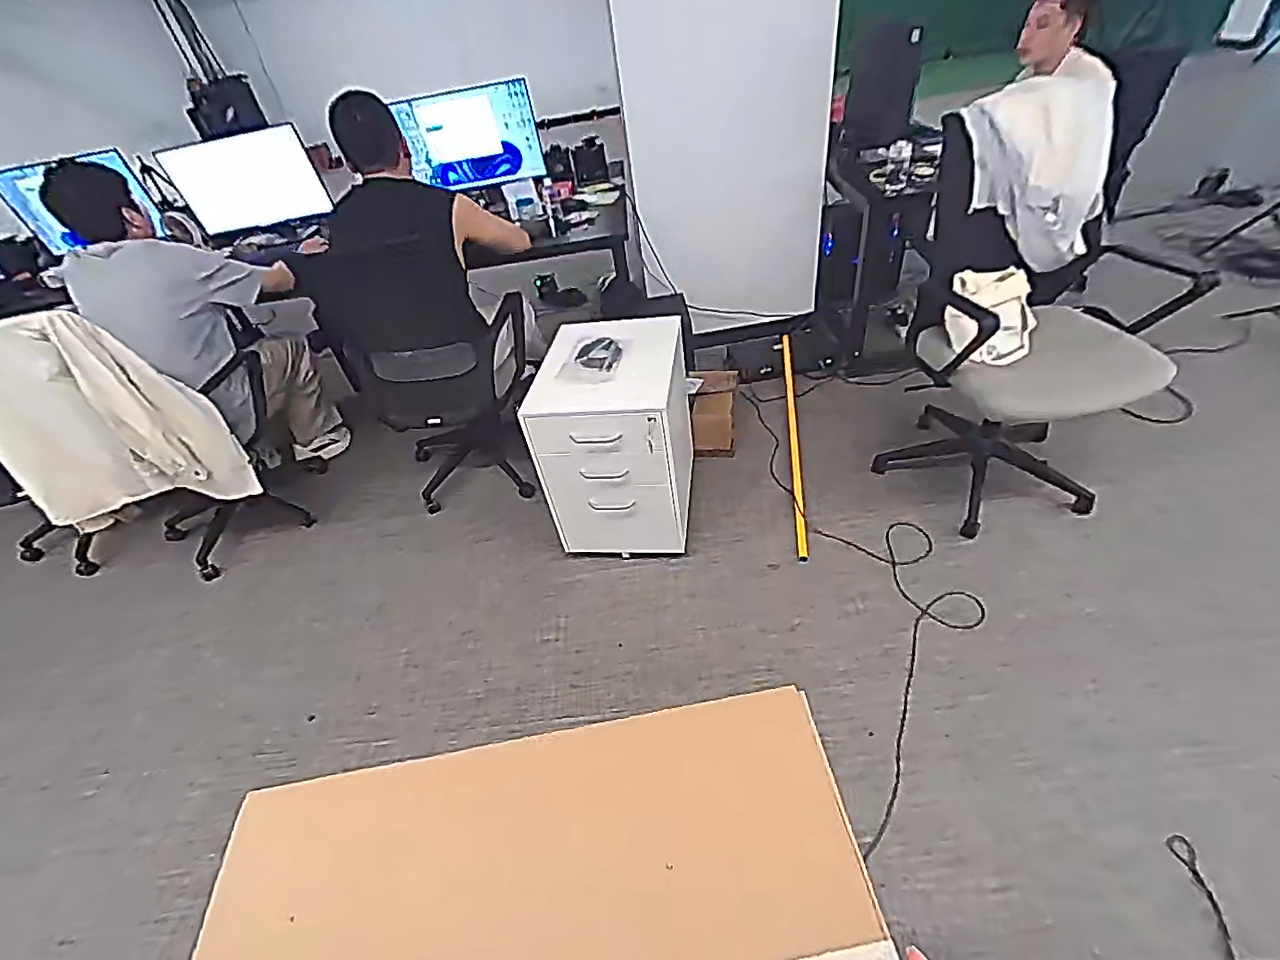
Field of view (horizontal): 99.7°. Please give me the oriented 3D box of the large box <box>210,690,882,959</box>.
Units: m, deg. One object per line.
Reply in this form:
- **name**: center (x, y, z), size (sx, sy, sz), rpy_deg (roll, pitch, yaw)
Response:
- **large box**: center (-0.041, 0.401, 0.405), size (0.408, 0.320, 0.320), rpy_deg (-11, 47, -1)
